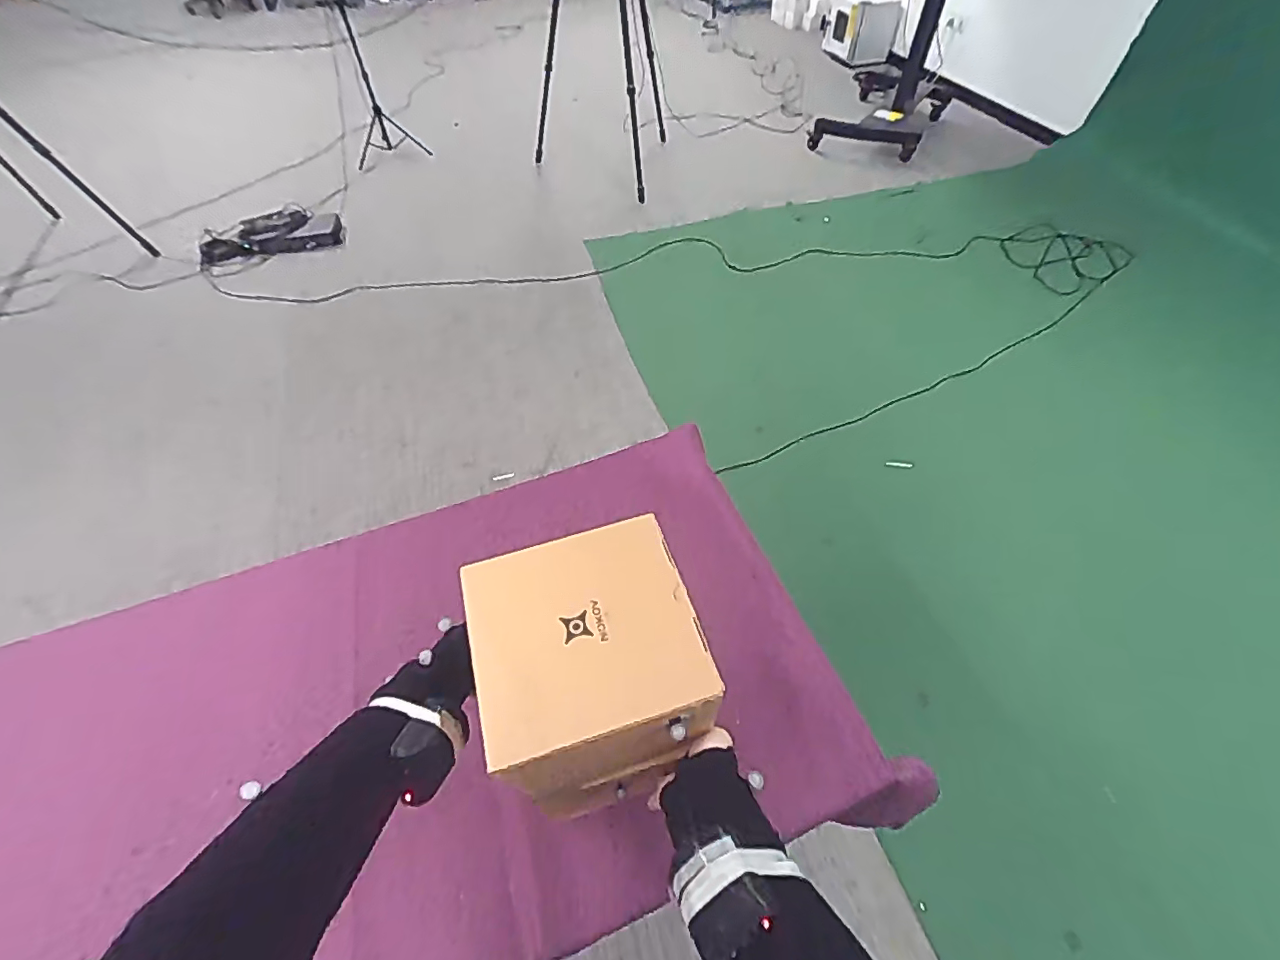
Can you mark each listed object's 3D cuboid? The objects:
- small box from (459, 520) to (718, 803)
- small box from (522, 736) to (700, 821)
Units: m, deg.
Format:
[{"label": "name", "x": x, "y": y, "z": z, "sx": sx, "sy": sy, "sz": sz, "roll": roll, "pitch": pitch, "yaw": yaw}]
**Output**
[{"label": "small box", "x": -0.046, "y": 0.168, "z": 0.489, "sx": 0.179, "sy": 0.176, "sz": 0.168, "roll": -16, "pitch": 54, "yaw": -11}, {"label": "small box", "x": -0.041, "y": 0.270, "z": 0.618, "sx": 0.179, "sy": 0.176, "sz": 0.168, "roll": -13, "pitch": 54, "yaw": -9}]
